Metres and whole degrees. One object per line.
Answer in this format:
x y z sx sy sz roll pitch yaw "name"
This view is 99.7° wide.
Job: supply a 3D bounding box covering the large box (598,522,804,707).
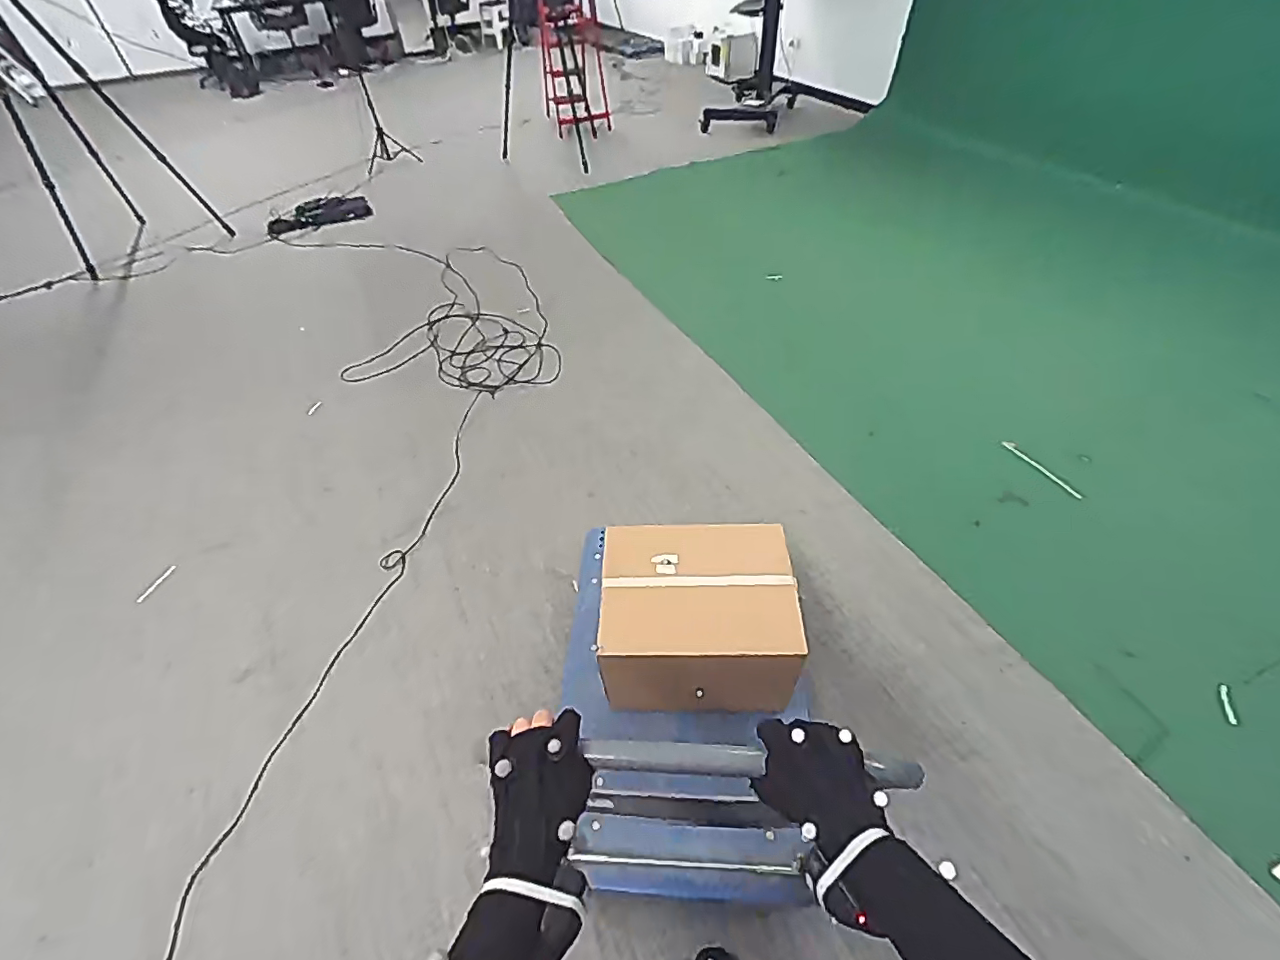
0.127 0.316 1.247 0.408 0.320 0.320 -2 48 3 "large box"
